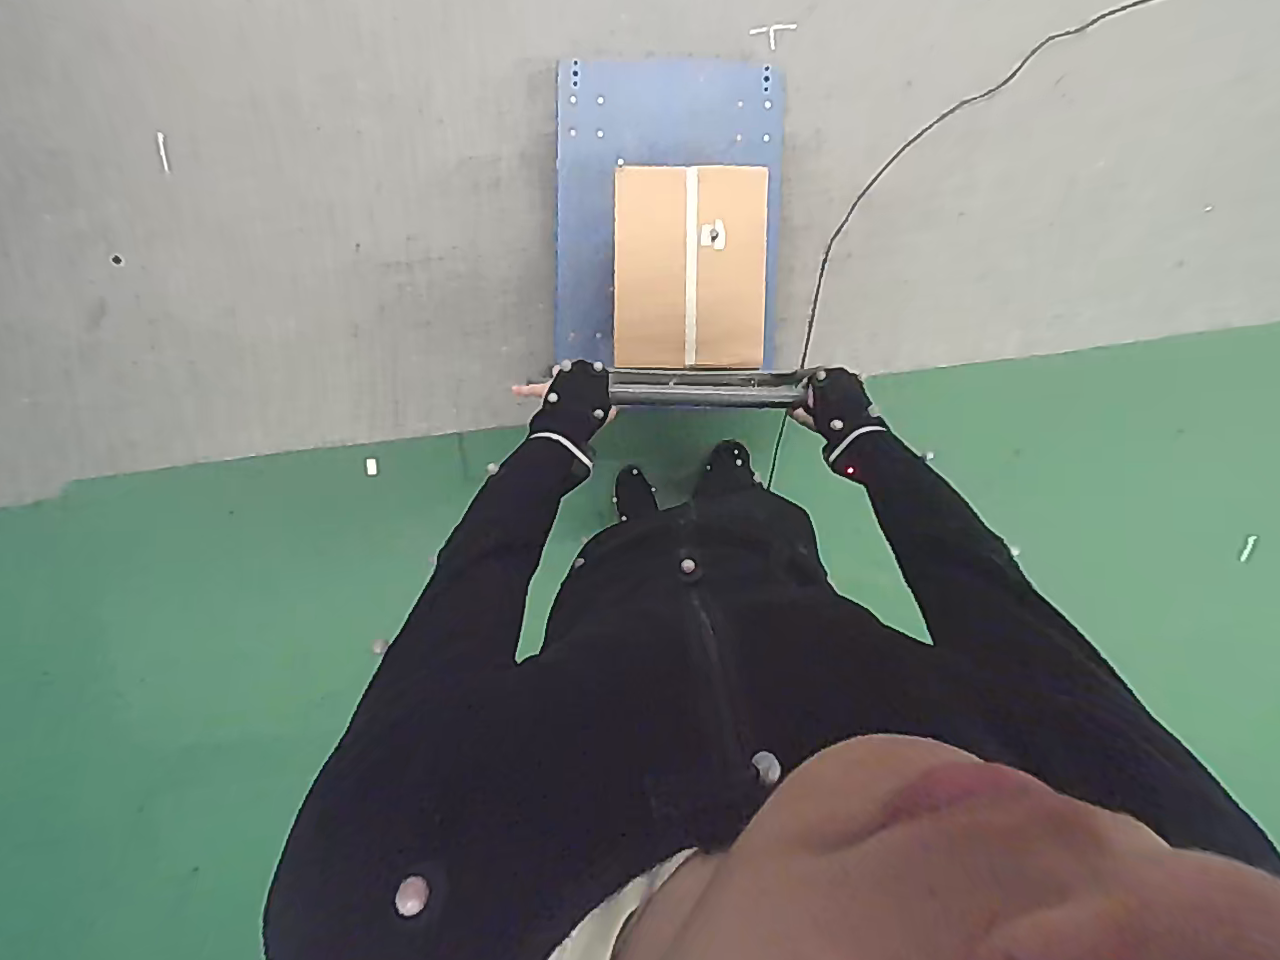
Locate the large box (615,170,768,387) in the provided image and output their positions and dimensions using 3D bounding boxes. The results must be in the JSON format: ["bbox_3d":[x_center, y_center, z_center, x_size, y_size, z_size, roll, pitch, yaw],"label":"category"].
[{"bbox_3d":[0.105,-0.432,1.248,0.320,0.320,0.408,0,94,-2],"label":"large box"}]
